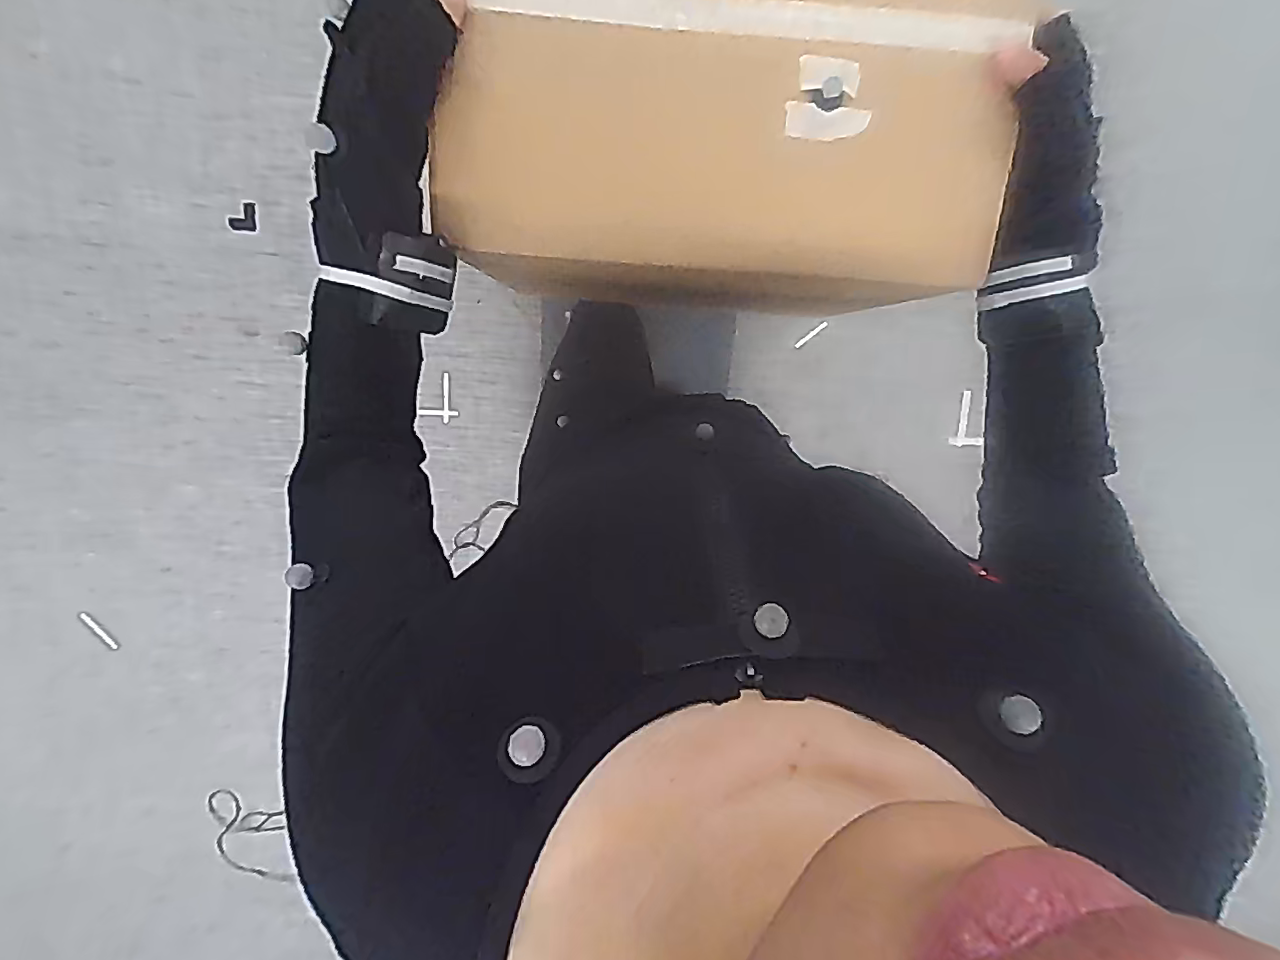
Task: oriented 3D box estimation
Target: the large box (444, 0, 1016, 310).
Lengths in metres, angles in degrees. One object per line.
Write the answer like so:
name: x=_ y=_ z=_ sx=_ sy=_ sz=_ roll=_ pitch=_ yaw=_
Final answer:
large box: x=0.056 y=-0.347 z=0.522 sx=0.408 sy=0.320 sz=0.320 roll=3 pitch=103 yaw=-3
